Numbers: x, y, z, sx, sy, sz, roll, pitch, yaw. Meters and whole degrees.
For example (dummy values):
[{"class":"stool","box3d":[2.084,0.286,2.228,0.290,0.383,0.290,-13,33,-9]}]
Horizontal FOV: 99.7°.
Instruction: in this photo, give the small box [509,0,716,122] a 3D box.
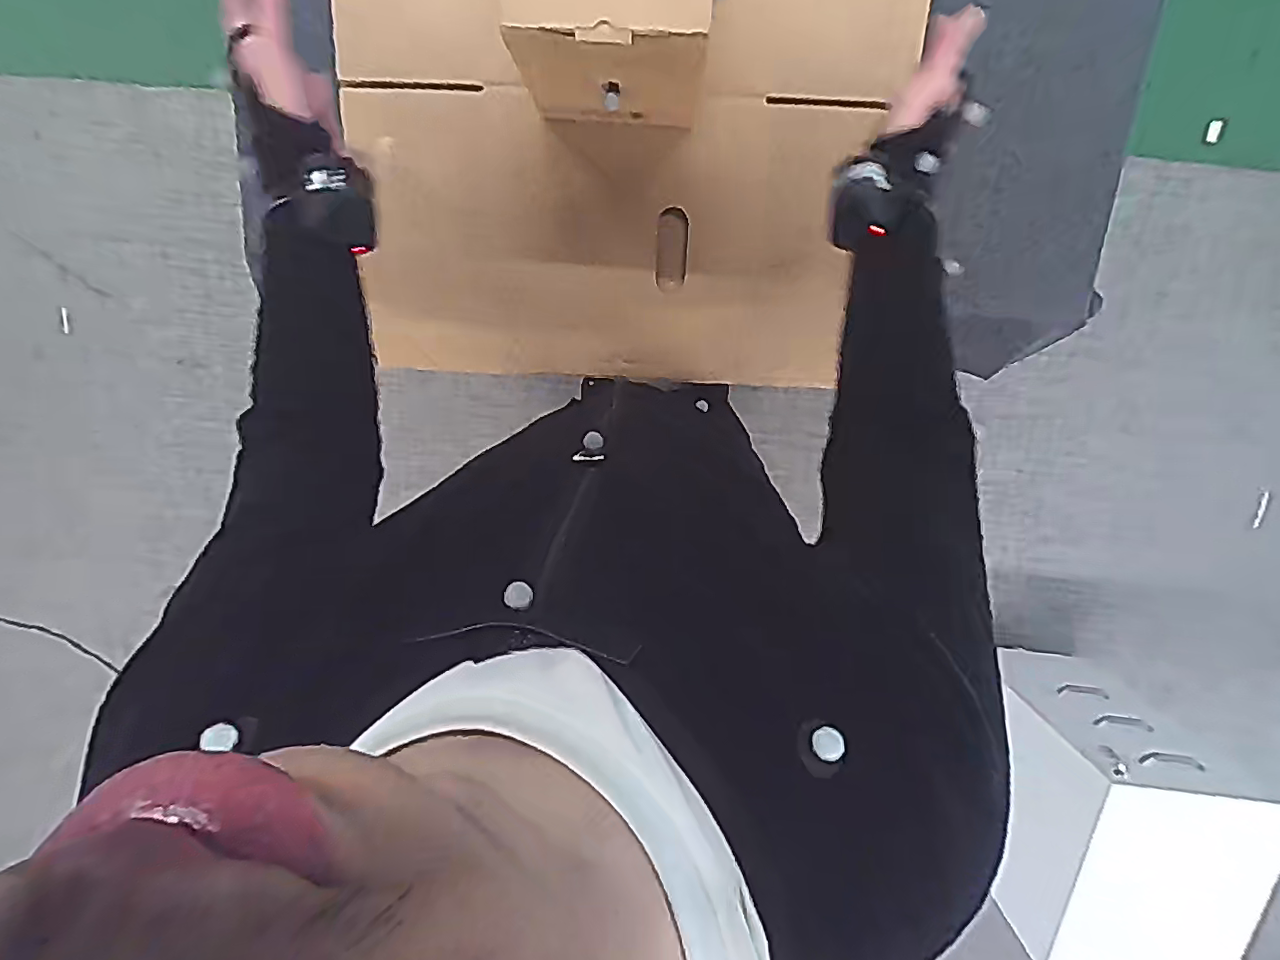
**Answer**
[{"class":"small box","box3d":[-0.016,-0.445,0.483,0.168,0.176,0.179,1,103,2]}]
